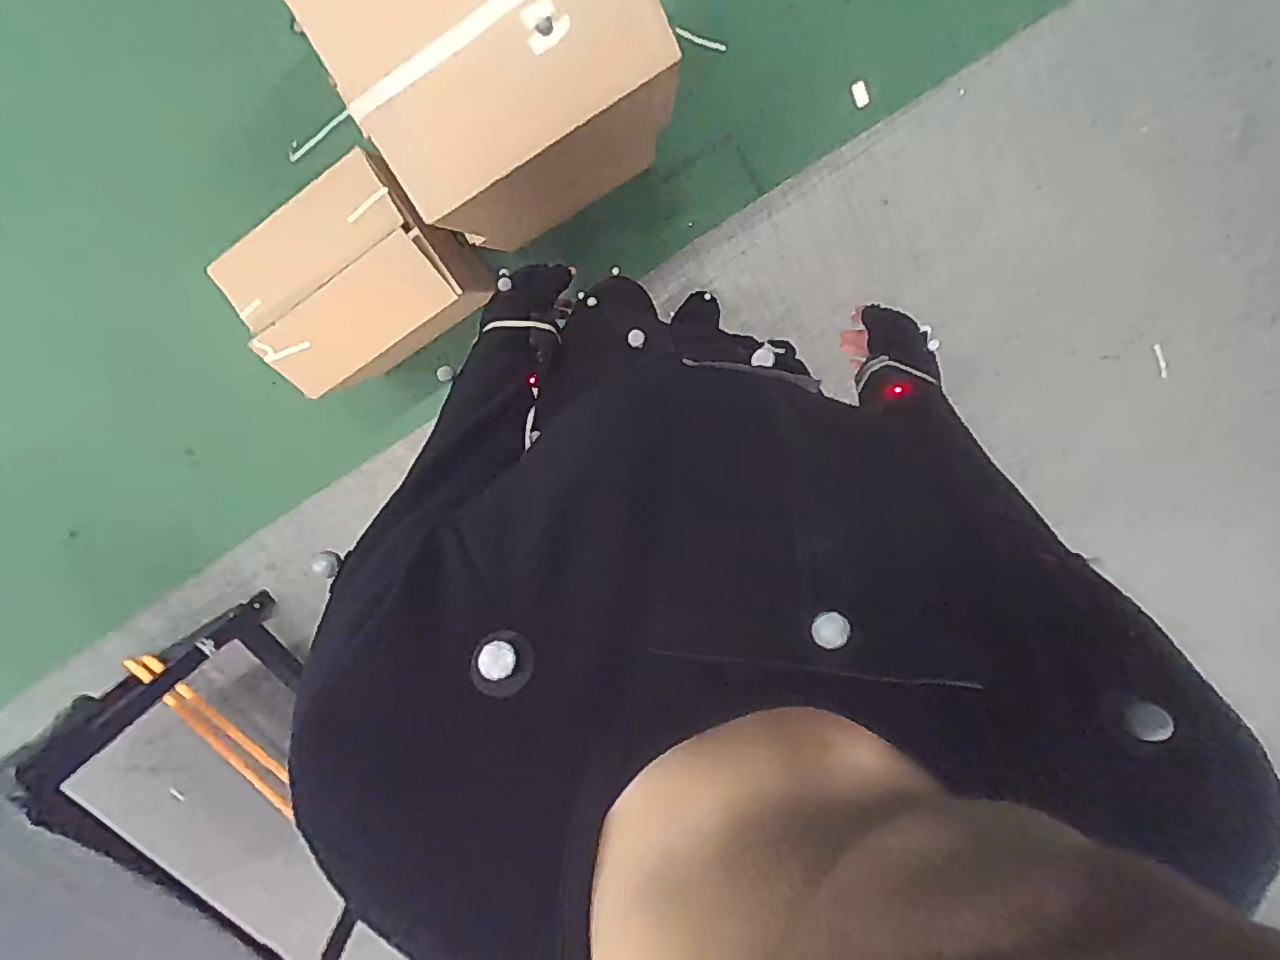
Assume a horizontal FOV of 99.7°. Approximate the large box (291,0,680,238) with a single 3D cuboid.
[{"bbox_3d":[-0.193,-0.622,0.812,0.408,0.320,0.320,-28,108,9],"label":"large box"}]
